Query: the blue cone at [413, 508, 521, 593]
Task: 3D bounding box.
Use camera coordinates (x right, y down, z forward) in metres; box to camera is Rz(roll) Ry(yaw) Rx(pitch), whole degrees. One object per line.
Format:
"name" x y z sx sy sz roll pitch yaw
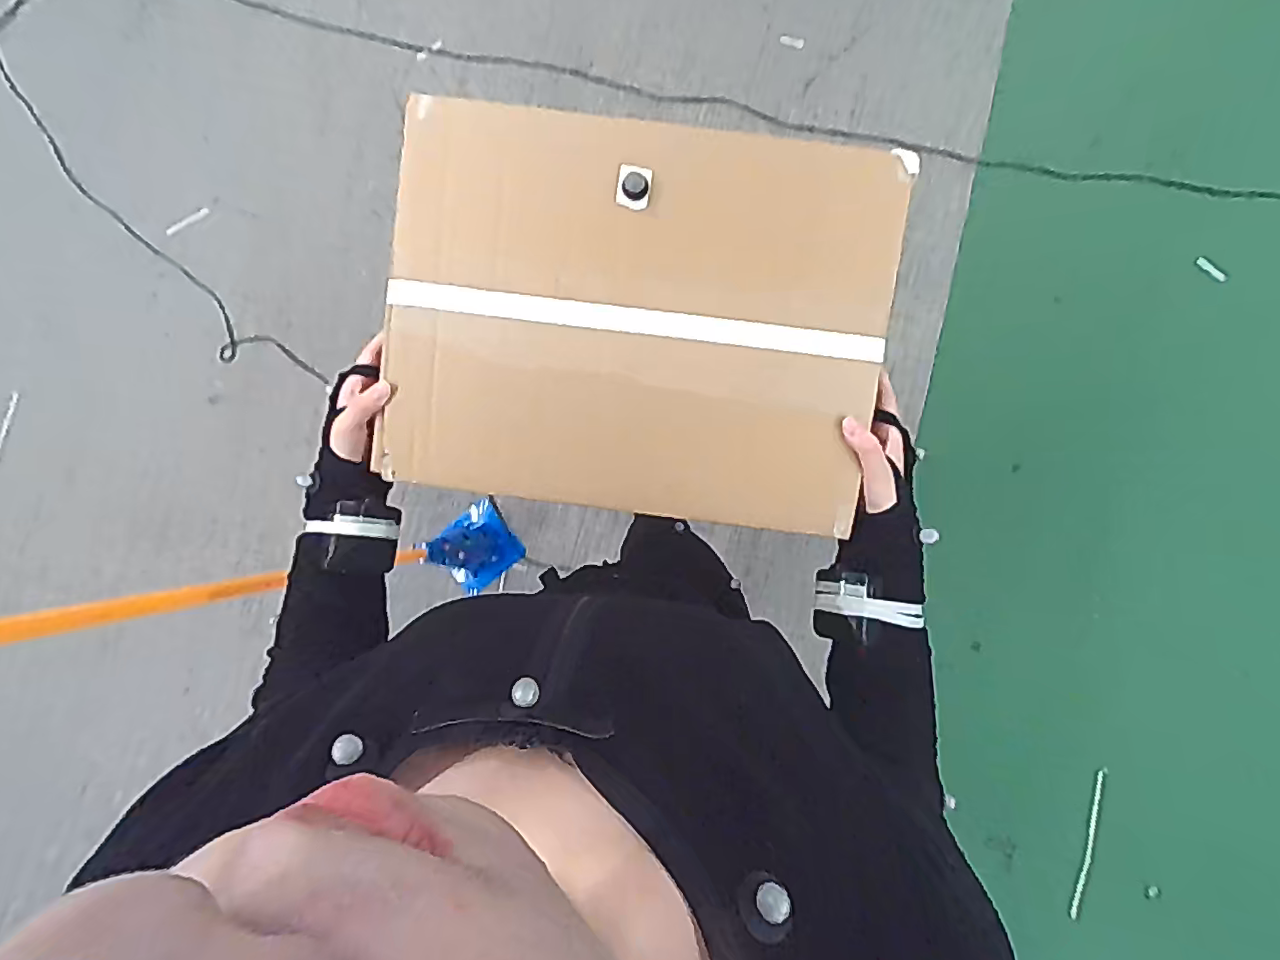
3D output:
"blue cone" -0.443 0.179 1.306 0.192 0.380 0.193 -42 86 -2
